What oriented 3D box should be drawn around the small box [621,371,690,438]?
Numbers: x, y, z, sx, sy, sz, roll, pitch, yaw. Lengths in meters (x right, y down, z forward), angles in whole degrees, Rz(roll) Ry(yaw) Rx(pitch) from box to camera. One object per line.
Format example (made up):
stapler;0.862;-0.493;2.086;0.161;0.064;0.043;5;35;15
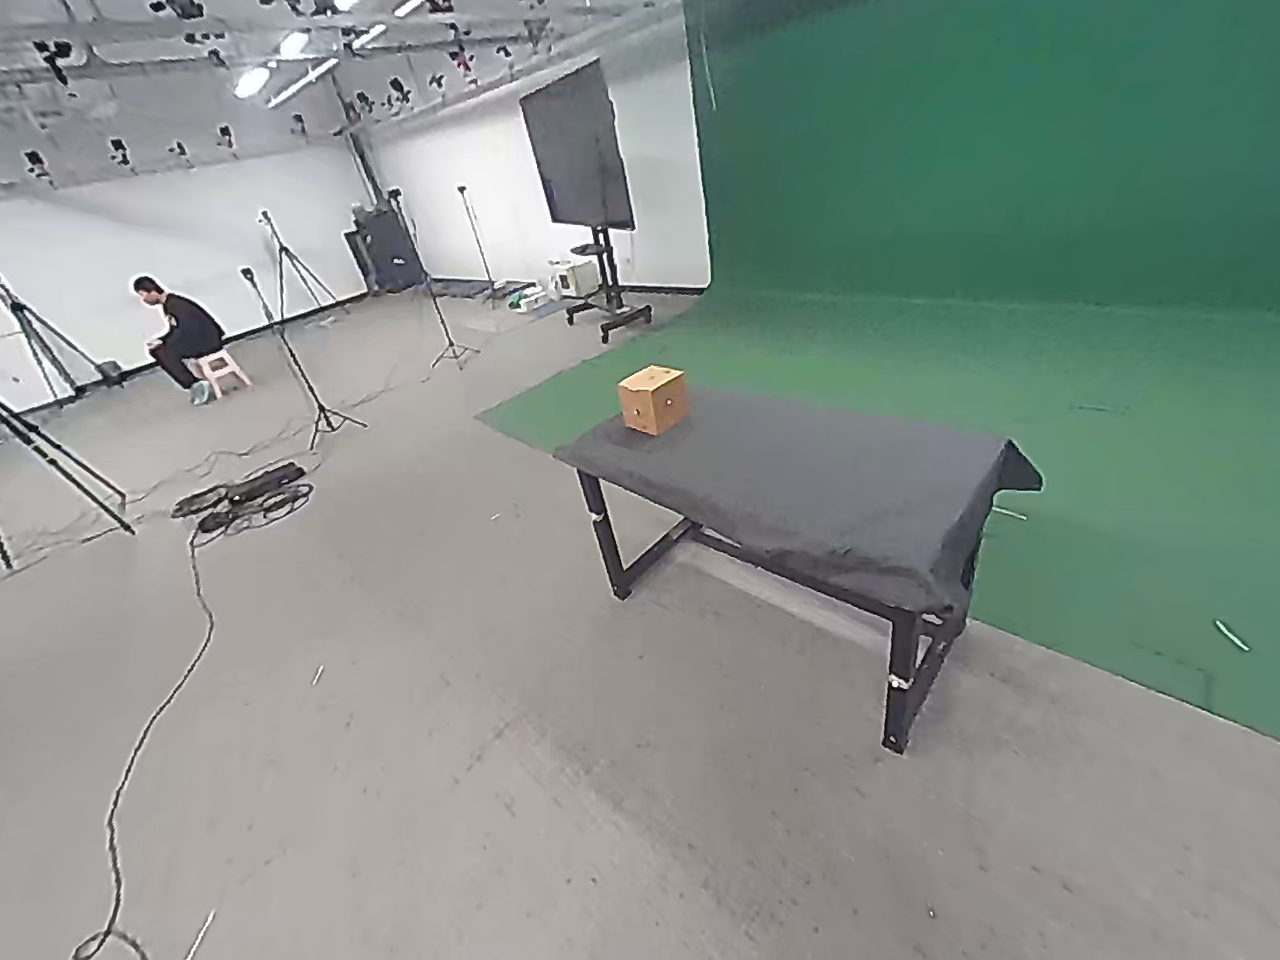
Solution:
small box;0.061;-0.268;1.918;0.179;0.176;0.168;-35;39;-32
